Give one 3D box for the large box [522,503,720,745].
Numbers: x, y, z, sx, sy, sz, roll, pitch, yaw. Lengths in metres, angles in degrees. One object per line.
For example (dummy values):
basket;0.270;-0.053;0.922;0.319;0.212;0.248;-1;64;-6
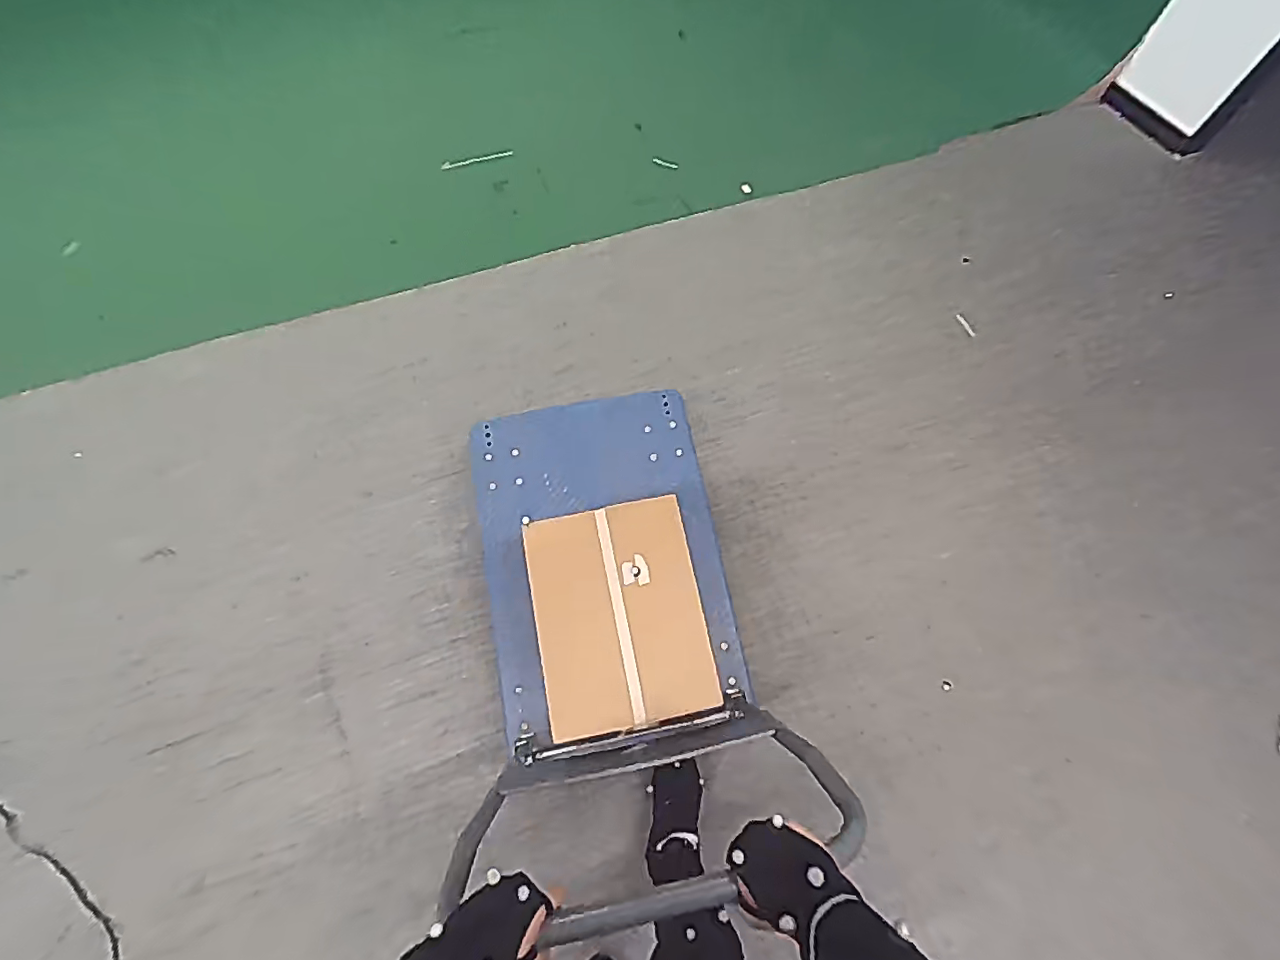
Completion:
large box;-0.044;0.304;1.170;0.320;0.320;0.408;-11;73;-5
